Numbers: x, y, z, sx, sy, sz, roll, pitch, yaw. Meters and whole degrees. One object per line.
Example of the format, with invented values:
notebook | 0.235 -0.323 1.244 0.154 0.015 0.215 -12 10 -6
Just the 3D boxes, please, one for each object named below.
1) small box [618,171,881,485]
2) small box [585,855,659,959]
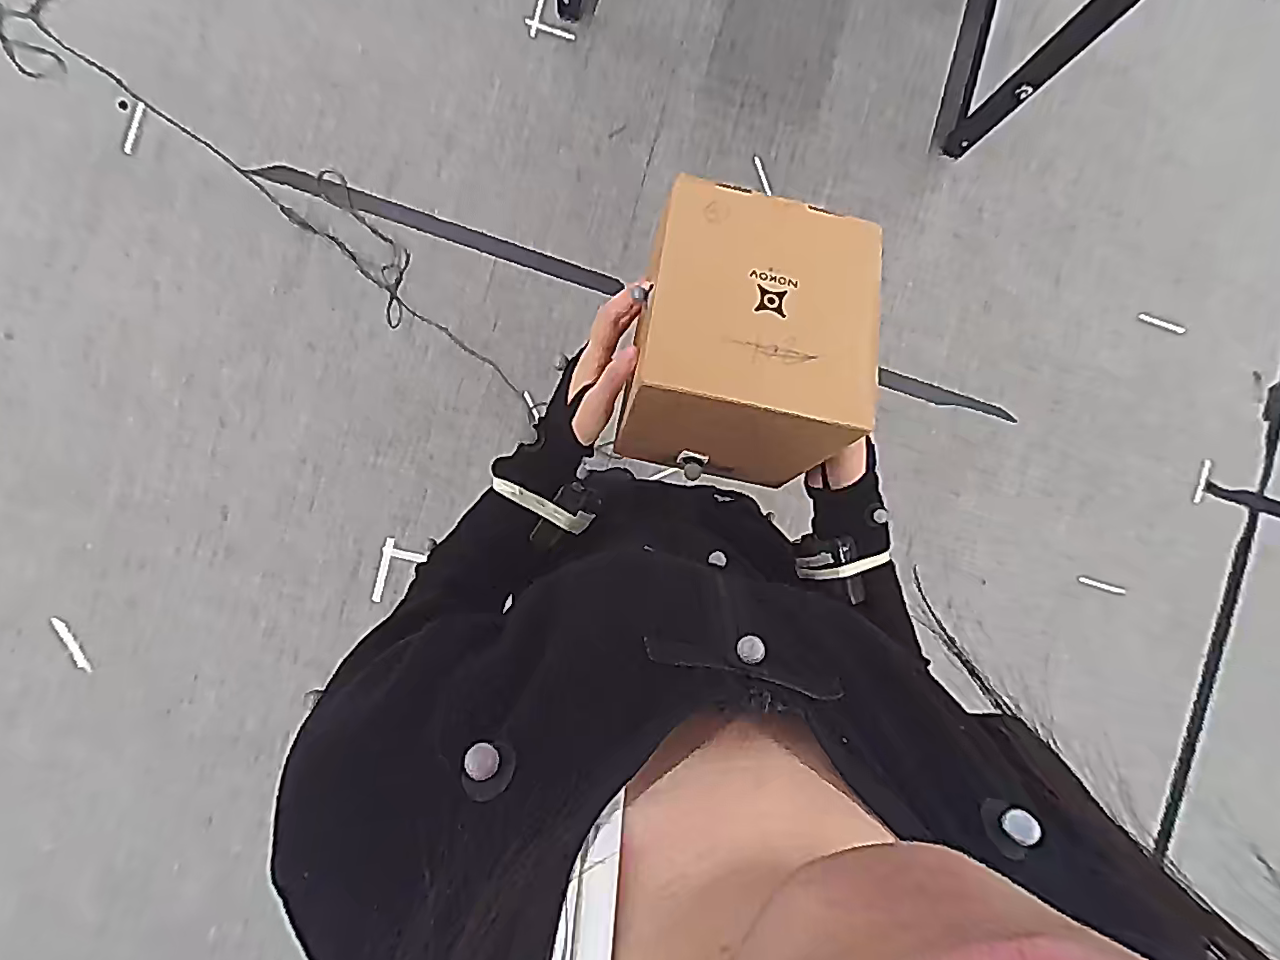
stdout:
small box | 0.079 -0.110 0.458 0.168 0.176 0.179 10 74 -6
small box | -0.052 1.132 1.437 0.179 0.176 0.168 4 91 -6
